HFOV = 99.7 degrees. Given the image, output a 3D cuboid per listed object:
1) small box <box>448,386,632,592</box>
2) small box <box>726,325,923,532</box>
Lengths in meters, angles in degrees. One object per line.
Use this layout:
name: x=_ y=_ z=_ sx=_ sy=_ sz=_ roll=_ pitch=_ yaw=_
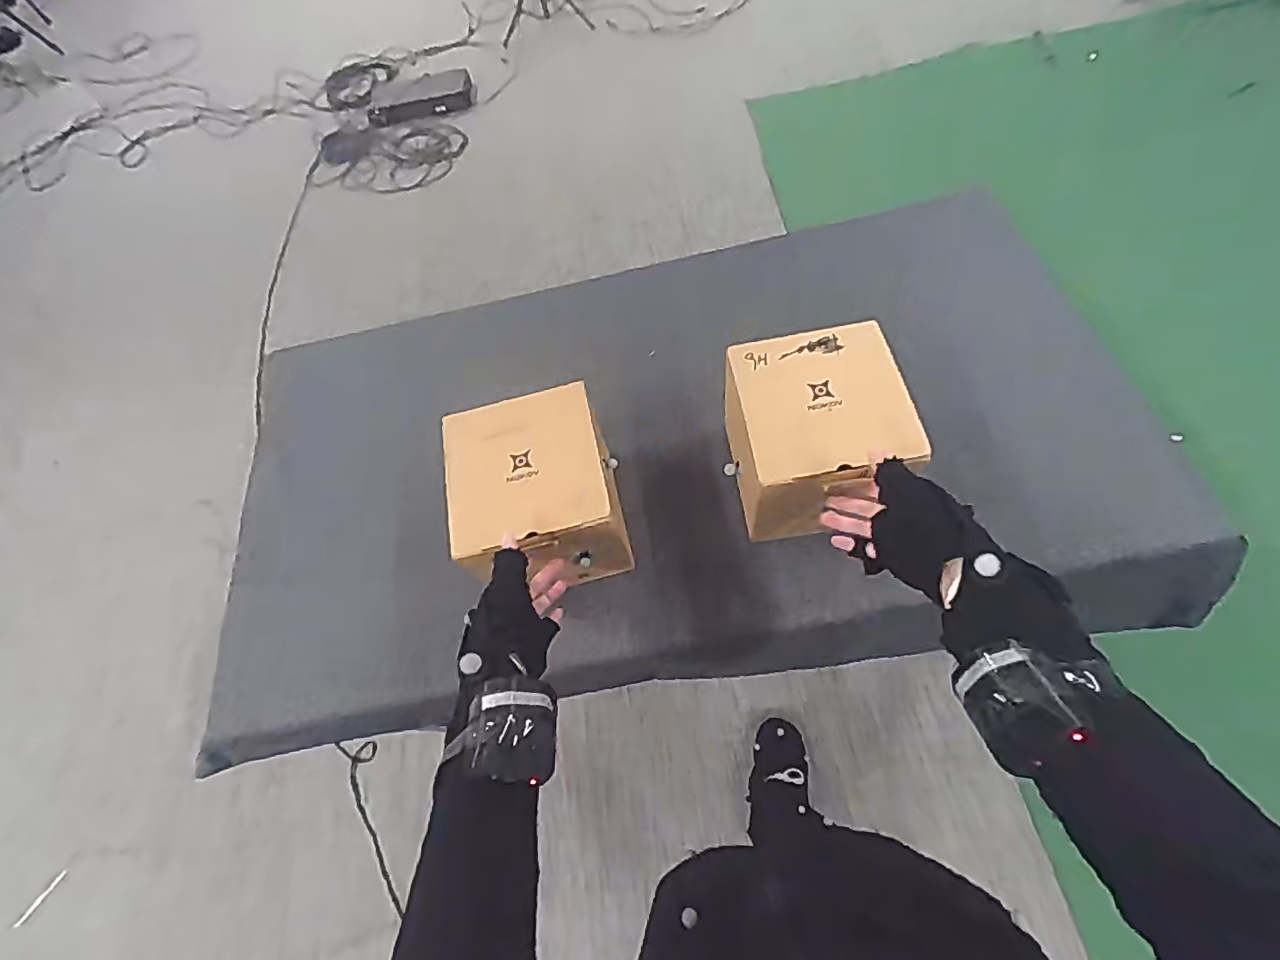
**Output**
small box: x=-0.112 y=0.022 z=0.646 sx=0.168 sy=0.176 sz=0.179 roll=-15 pitch=61 yaw=-1
small box: x=0.196 y=-0.047 z=0.633 sx=0.168 sy=0.176 sz=0.179 roll=-9 pitch=64 yaw=3
